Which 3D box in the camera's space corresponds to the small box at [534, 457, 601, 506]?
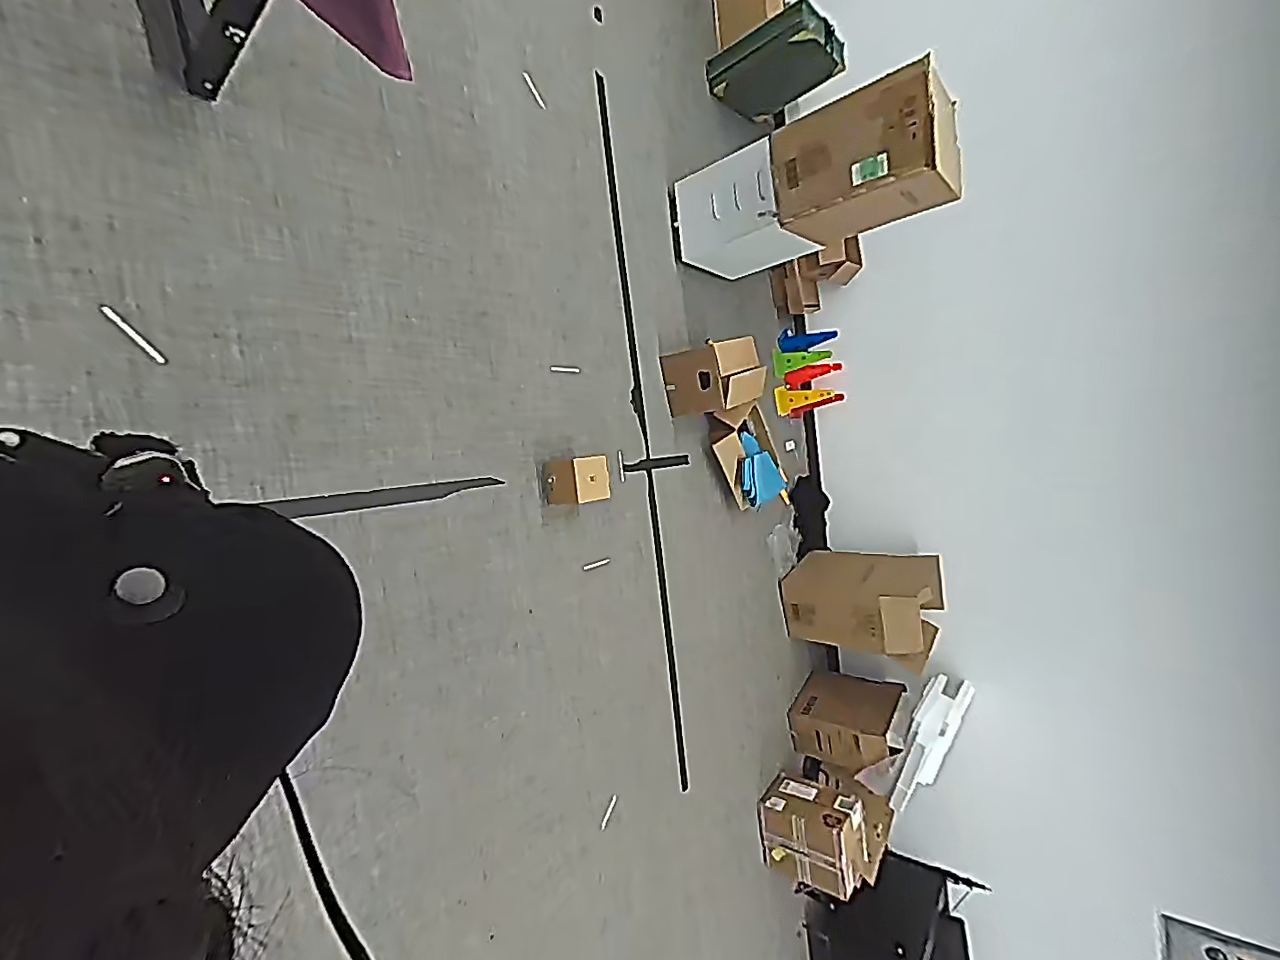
[{"bbox_3d":[-0.274,0.005,2.046,0.179,0.176,0.168,-10,94,-51],"label":"small box"}]
